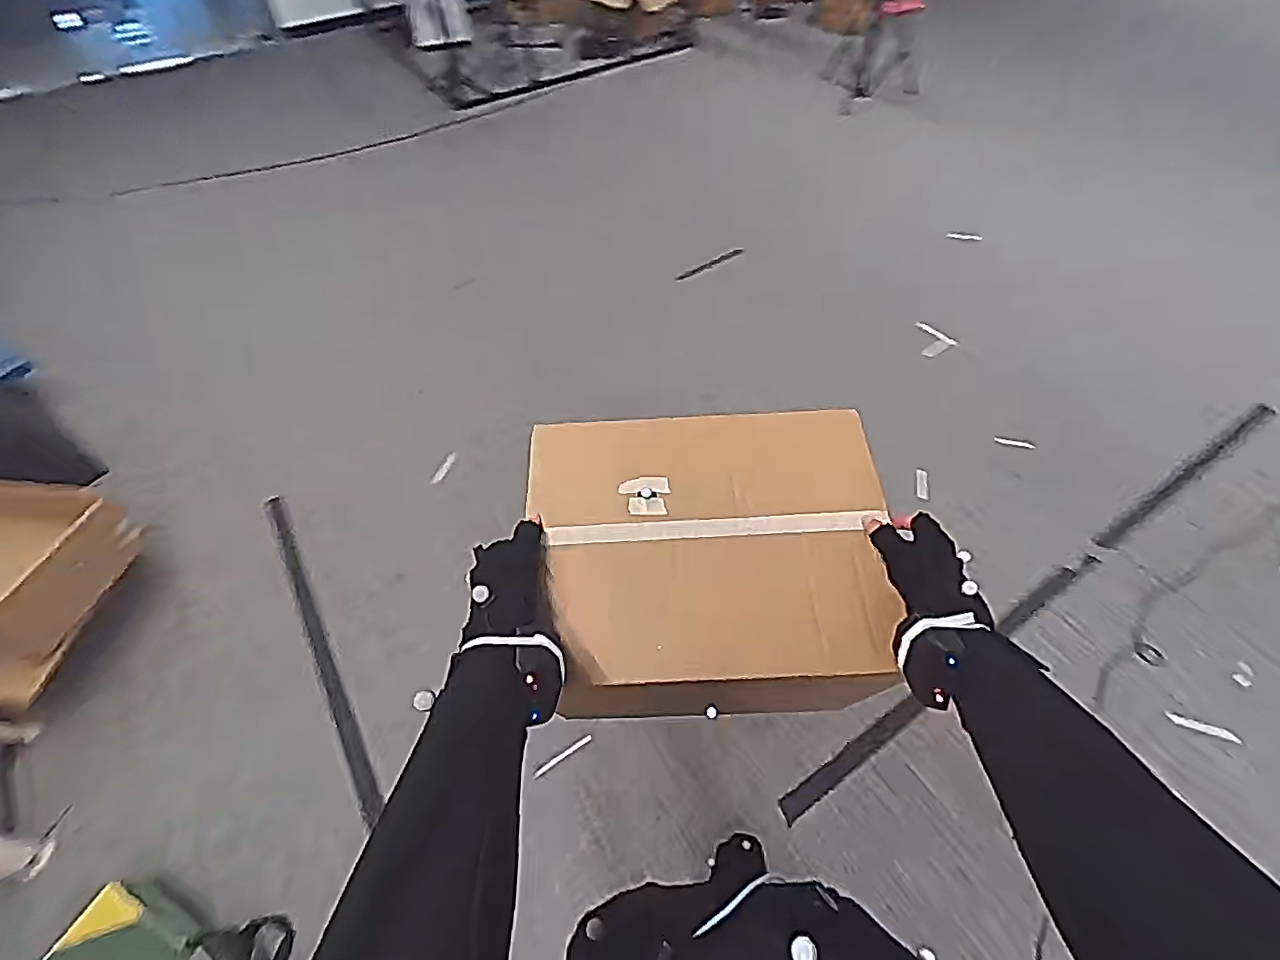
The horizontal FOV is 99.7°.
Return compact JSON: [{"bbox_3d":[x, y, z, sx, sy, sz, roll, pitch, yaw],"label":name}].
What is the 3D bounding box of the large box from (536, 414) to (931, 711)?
[{"bbox_3d":[0.097,0.132,0.740,0.408,0.320,0.320,-2,60,2],"label":"large box"}]
